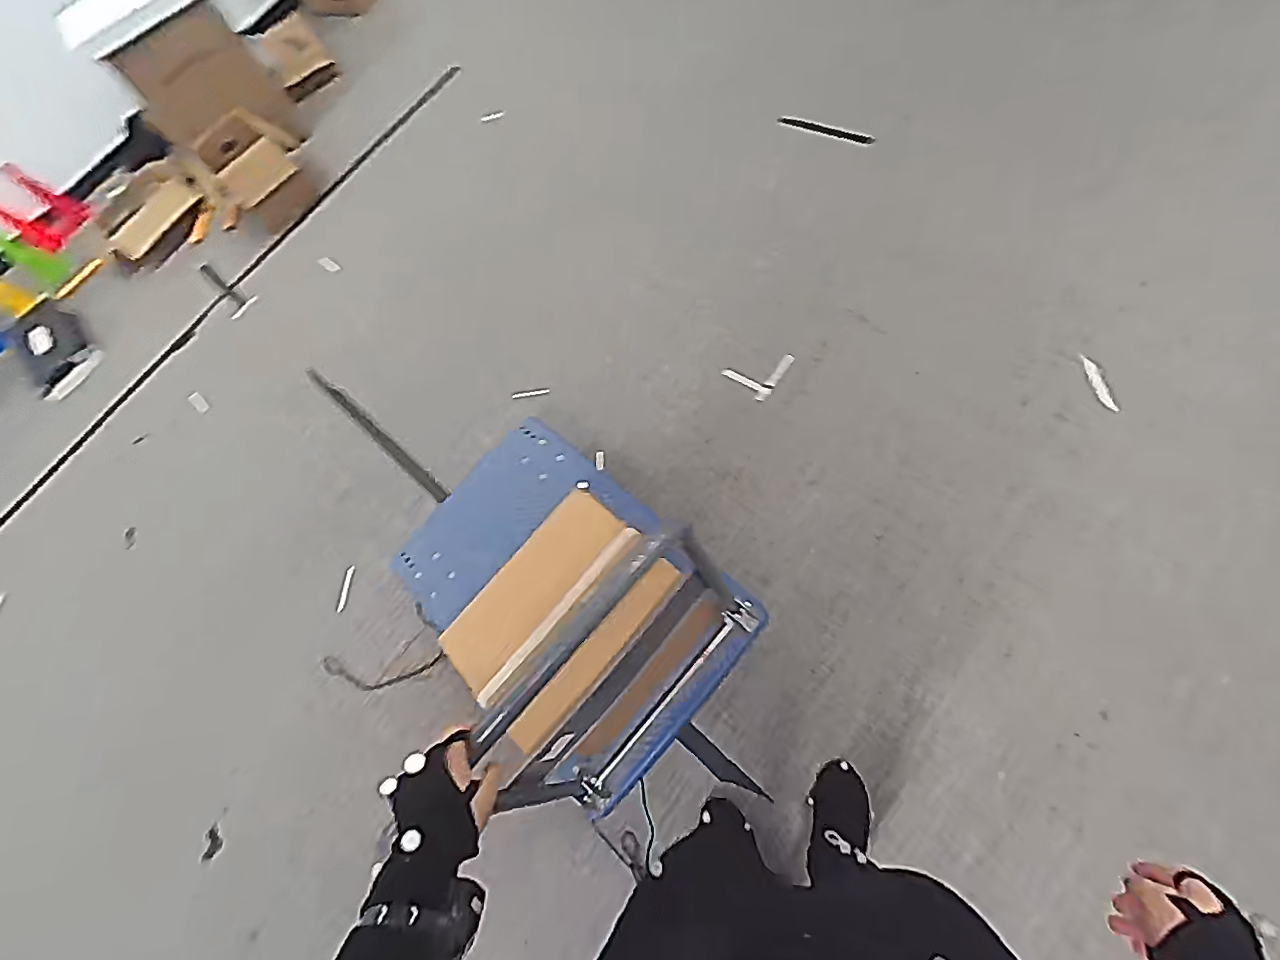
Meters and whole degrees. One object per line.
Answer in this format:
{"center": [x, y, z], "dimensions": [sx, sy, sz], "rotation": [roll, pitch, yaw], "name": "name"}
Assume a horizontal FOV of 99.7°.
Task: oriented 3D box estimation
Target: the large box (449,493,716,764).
{"center": [-0.099, 0.313, 1.130], "dimensions": [0.320, 0.320, 0.408], "rotation": [38, 81, 27], "name": "large box"}
